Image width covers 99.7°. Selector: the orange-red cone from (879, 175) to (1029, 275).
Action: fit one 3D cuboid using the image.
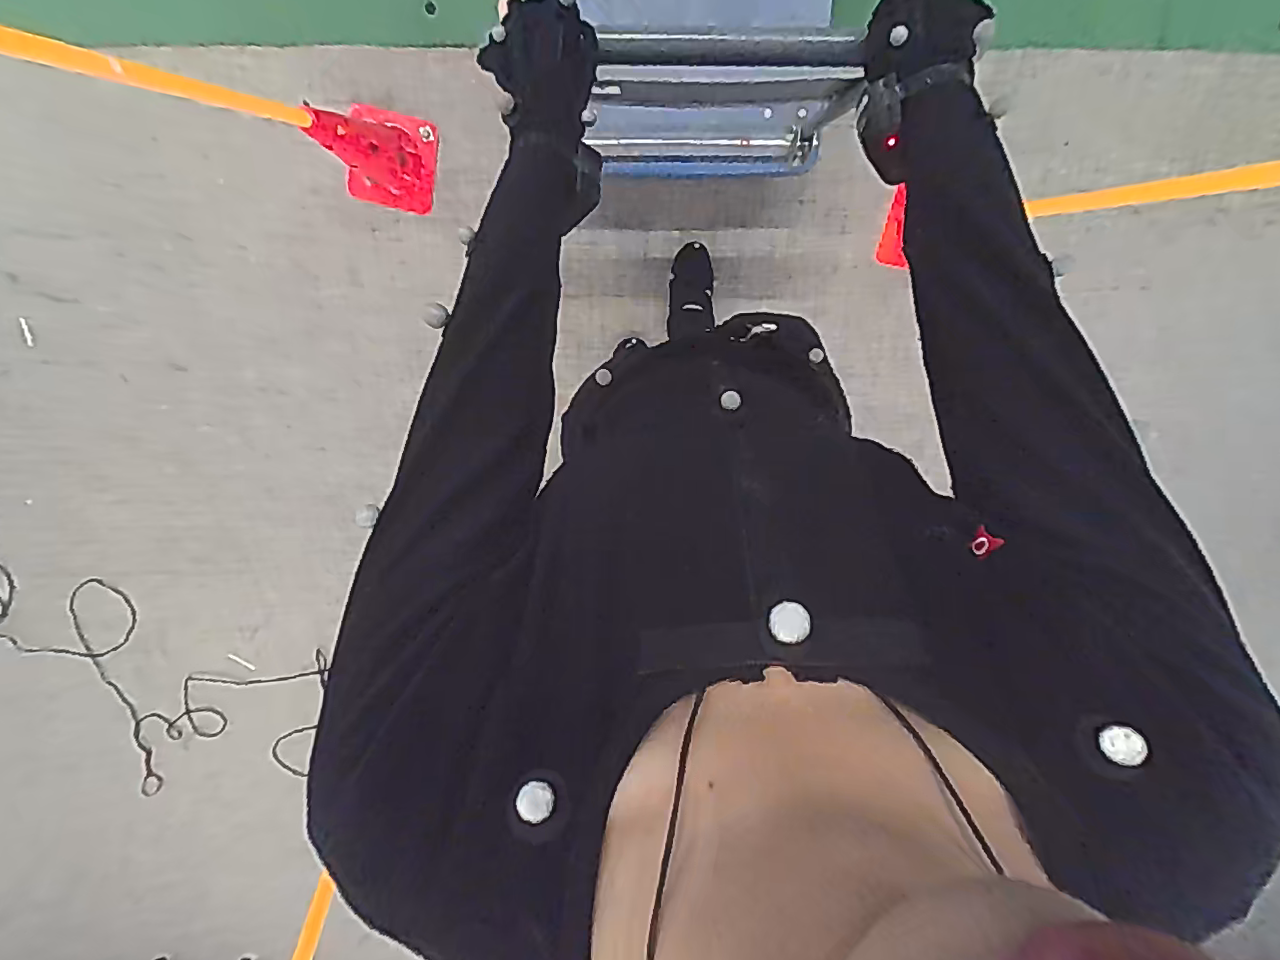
[{"bbox_3d":[0.699,-0.554,1.152,0.198,0.360,0.199,11,111,-3],"label":"orange-red cone"}]
